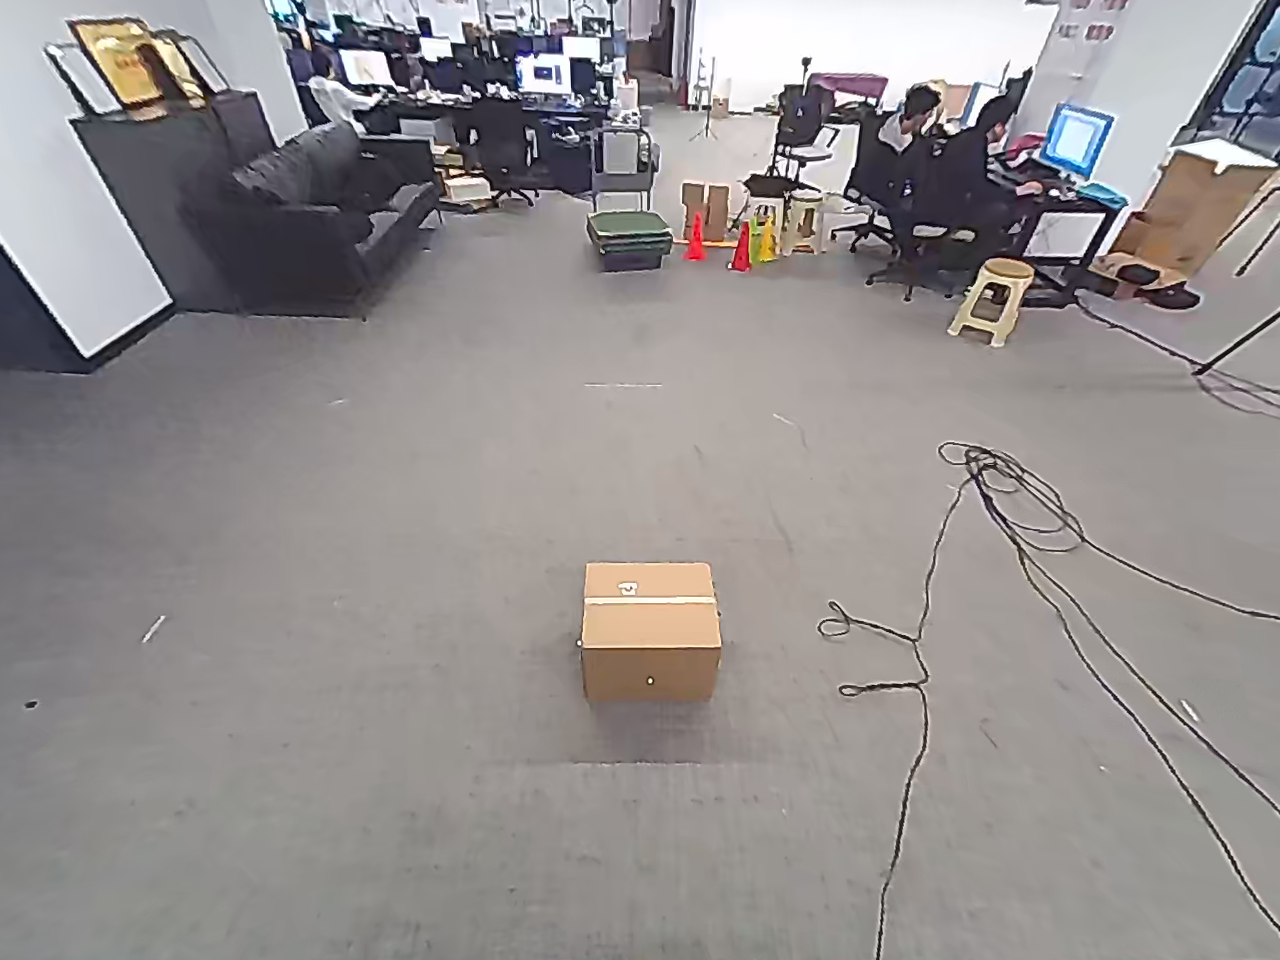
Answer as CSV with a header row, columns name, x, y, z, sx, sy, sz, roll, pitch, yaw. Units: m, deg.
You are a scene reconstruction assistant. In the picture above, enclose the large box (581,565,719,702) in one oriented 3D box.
name,x,y,z,sx,sy,sz,roll,pitch,yaw
large box,0.024,0.497,1.754,0.408,0.320,0.320,-1,40,-2
